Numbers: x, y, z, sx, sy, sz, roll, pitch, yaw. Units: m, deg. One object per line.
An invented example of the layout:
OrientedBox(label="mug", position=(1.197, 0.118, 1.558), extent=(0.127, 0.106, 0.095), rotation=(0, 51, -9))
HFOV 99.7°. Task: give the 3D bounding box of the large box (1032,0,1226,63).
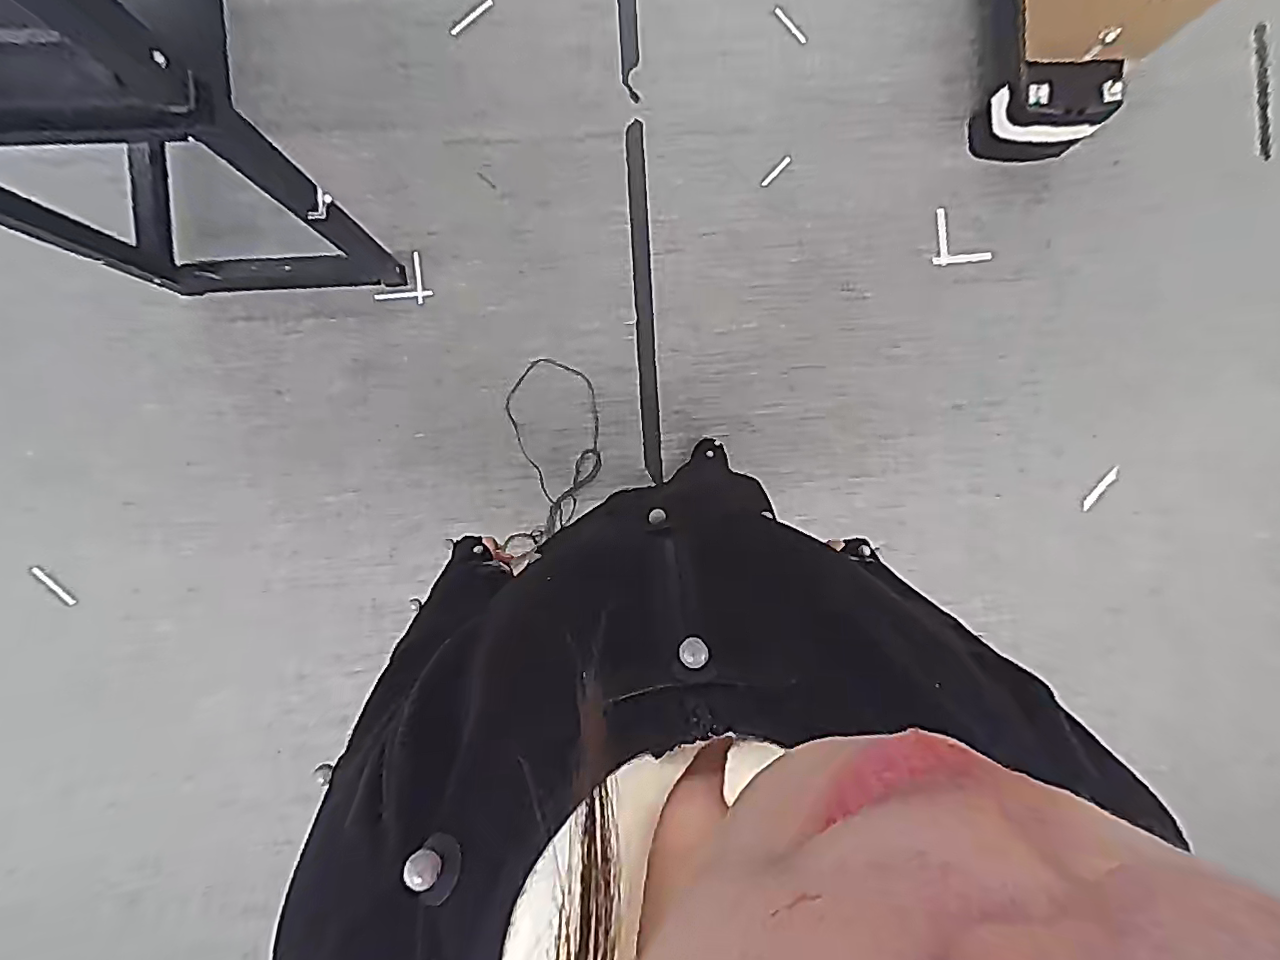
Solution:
OrientedBox(label="large box", position=(1.106, -1.222, 1.178), extent=(0.320, 0.320, 0.408), rotation=(-3, 91, -4))

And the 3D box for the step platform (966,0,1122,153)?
OrientedBox(label="step platform", position=(1.066, -1.257, 1.413), extent=(0.286, 0.204, 0.684), rotation=(2, 91, -3))
